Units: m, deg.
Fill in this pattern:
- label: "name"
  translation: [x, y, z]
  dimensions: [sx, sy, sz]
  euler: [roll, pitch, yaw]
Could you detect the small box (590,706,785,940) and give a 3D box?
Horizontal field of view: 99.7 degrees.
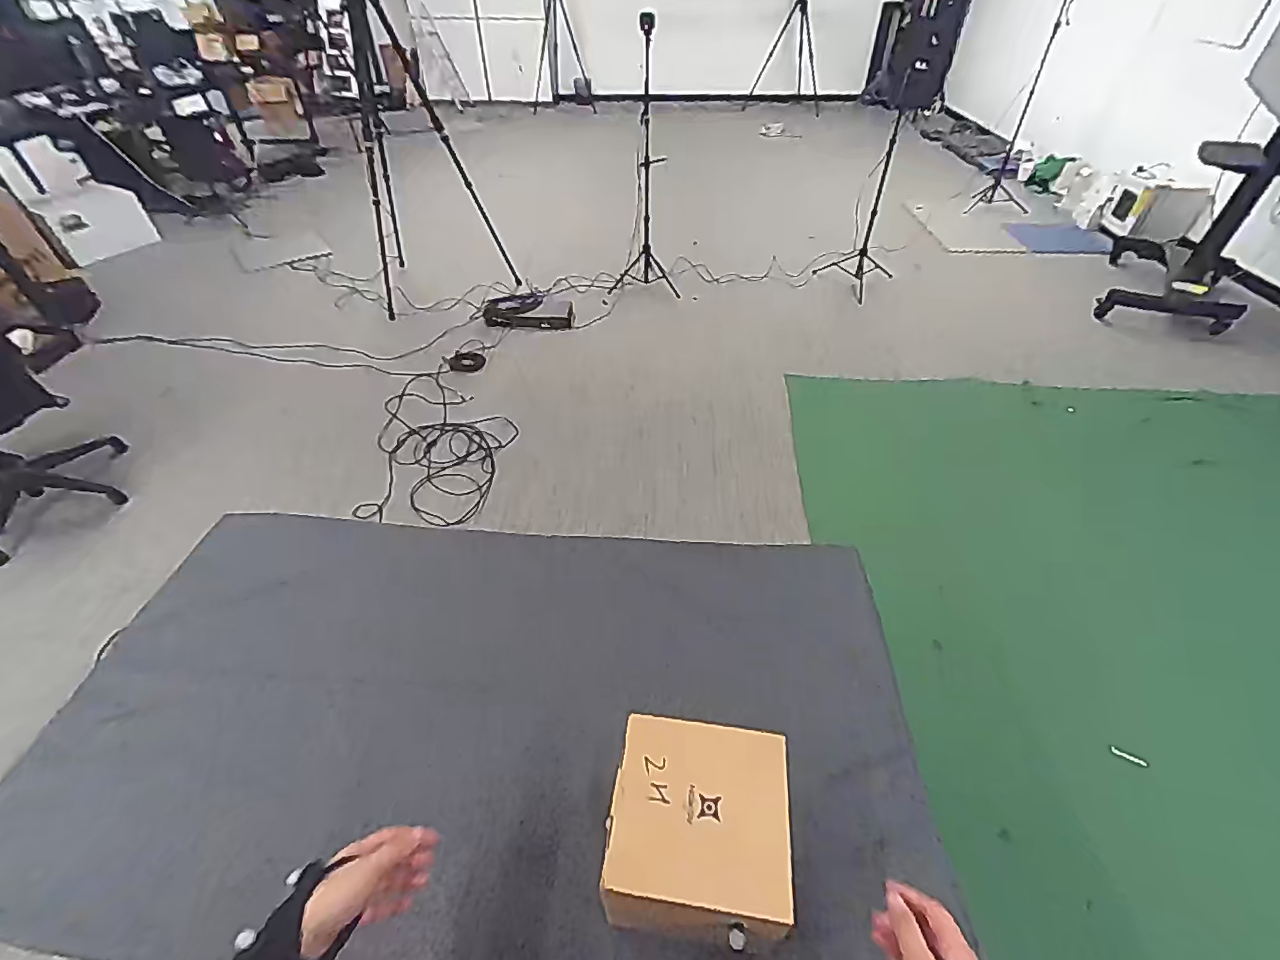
- label: "small box"
  translation: [0.052, 0.375, 0.590]
  dimensions: [0.179, 0.176, 0.168]
  euler: [5, 42, 7]
